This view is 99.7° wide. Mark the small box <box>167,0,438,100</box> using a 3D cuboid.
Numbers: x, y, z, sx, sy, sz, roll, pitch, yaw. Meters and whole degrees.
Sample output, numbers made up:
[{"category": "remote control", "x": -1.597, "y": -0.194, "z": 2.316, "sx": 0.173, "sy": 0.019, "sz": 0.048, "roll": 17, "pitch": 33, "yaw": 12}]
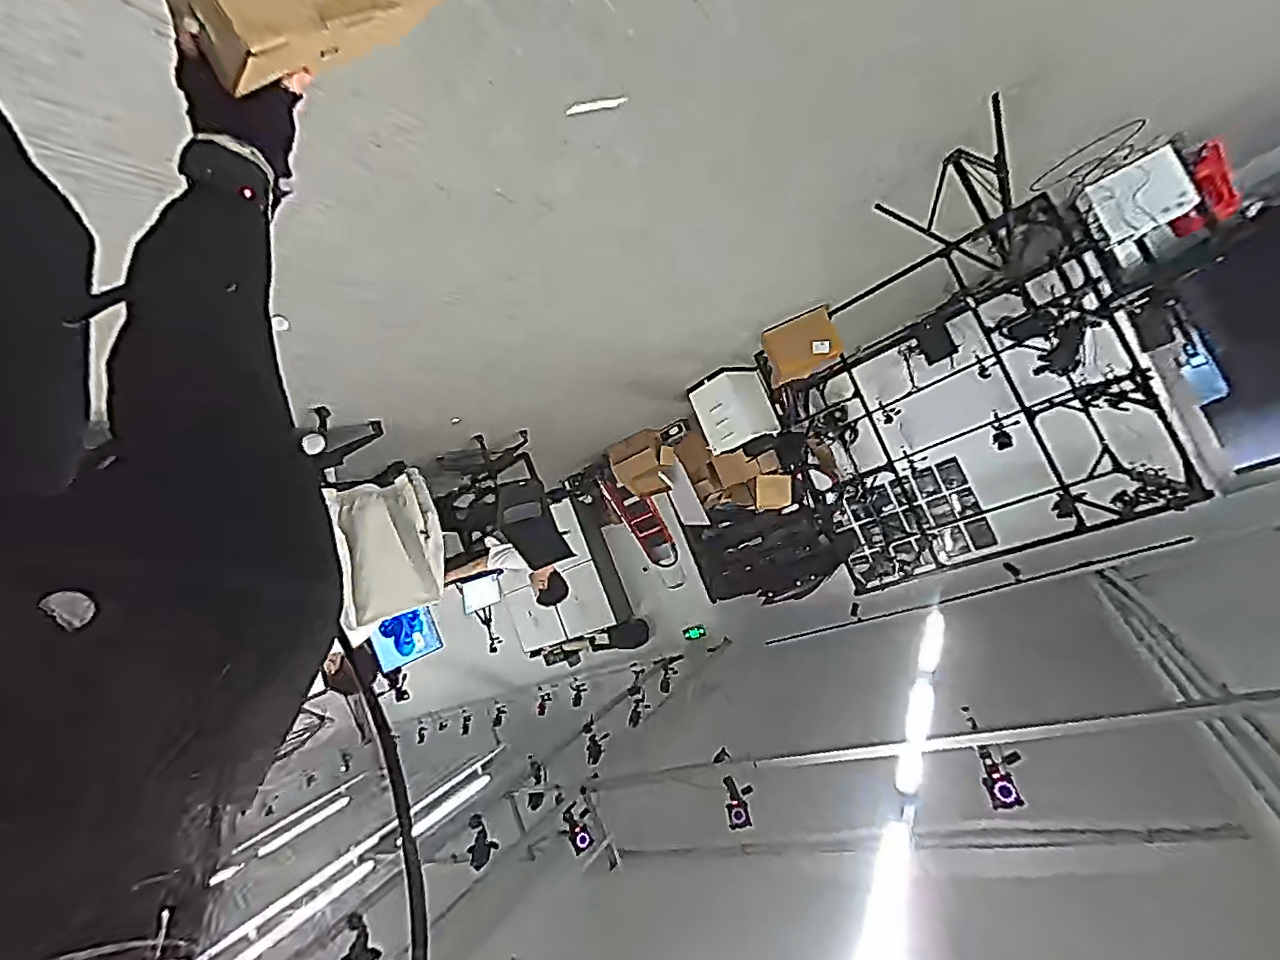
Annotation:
[{"category": "small box", "x": -0.299, "y": -0.439, "z": 0.426, "sx": 0.168, "sy": 0.176, "sz": 0.179, "roll": -40, "pitch": -139, "yaw": -24}]
